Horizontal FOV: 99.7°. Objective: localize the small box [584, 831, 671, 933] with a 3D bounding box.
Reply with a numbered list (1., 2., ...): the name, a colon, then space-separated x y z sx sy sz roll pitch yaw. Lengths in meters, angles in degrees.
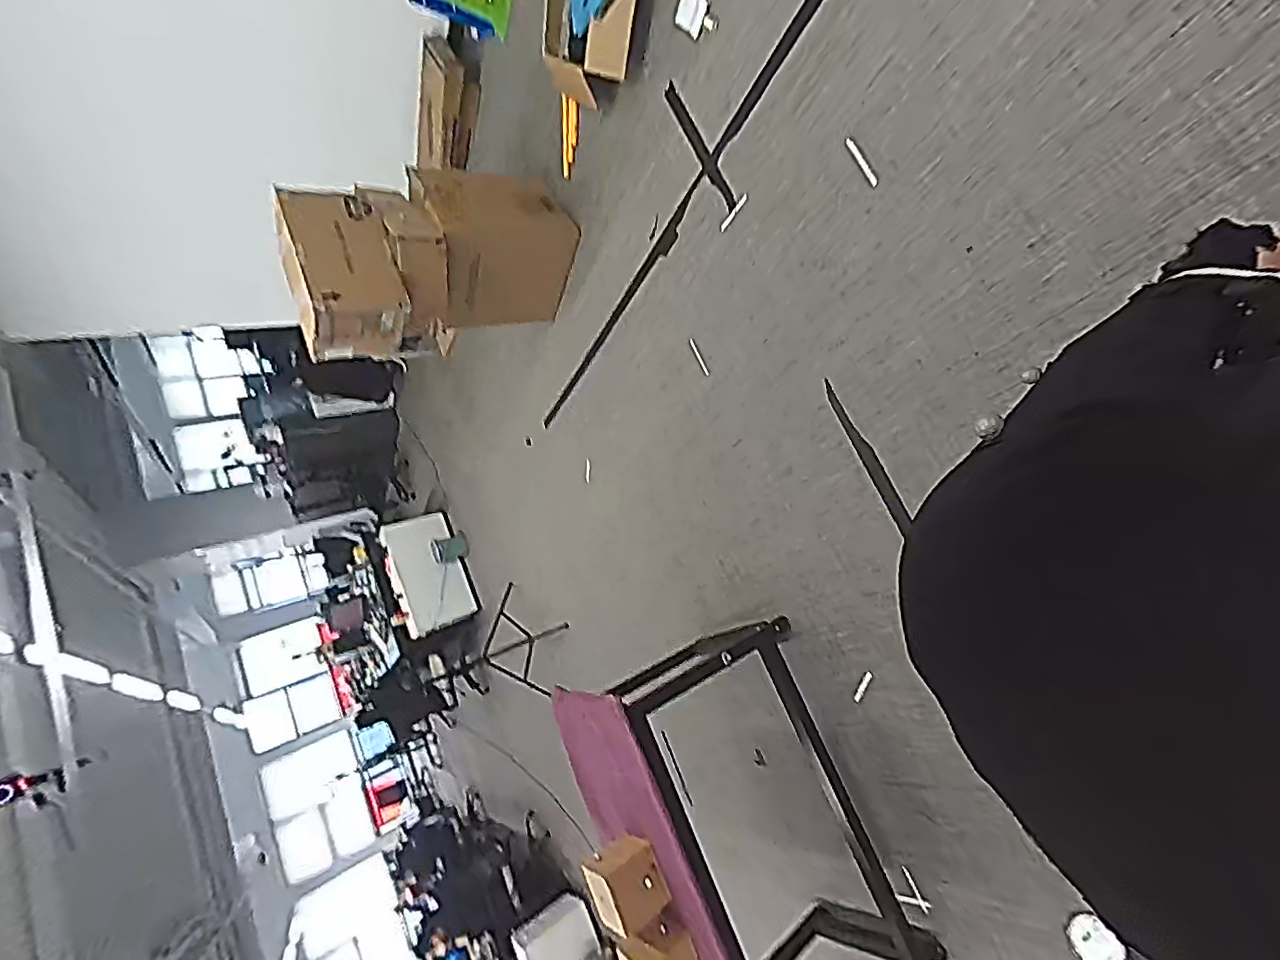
1. small box: -0.037 1.187 1.614 0.179 0.176 0.168 -39 72 54
